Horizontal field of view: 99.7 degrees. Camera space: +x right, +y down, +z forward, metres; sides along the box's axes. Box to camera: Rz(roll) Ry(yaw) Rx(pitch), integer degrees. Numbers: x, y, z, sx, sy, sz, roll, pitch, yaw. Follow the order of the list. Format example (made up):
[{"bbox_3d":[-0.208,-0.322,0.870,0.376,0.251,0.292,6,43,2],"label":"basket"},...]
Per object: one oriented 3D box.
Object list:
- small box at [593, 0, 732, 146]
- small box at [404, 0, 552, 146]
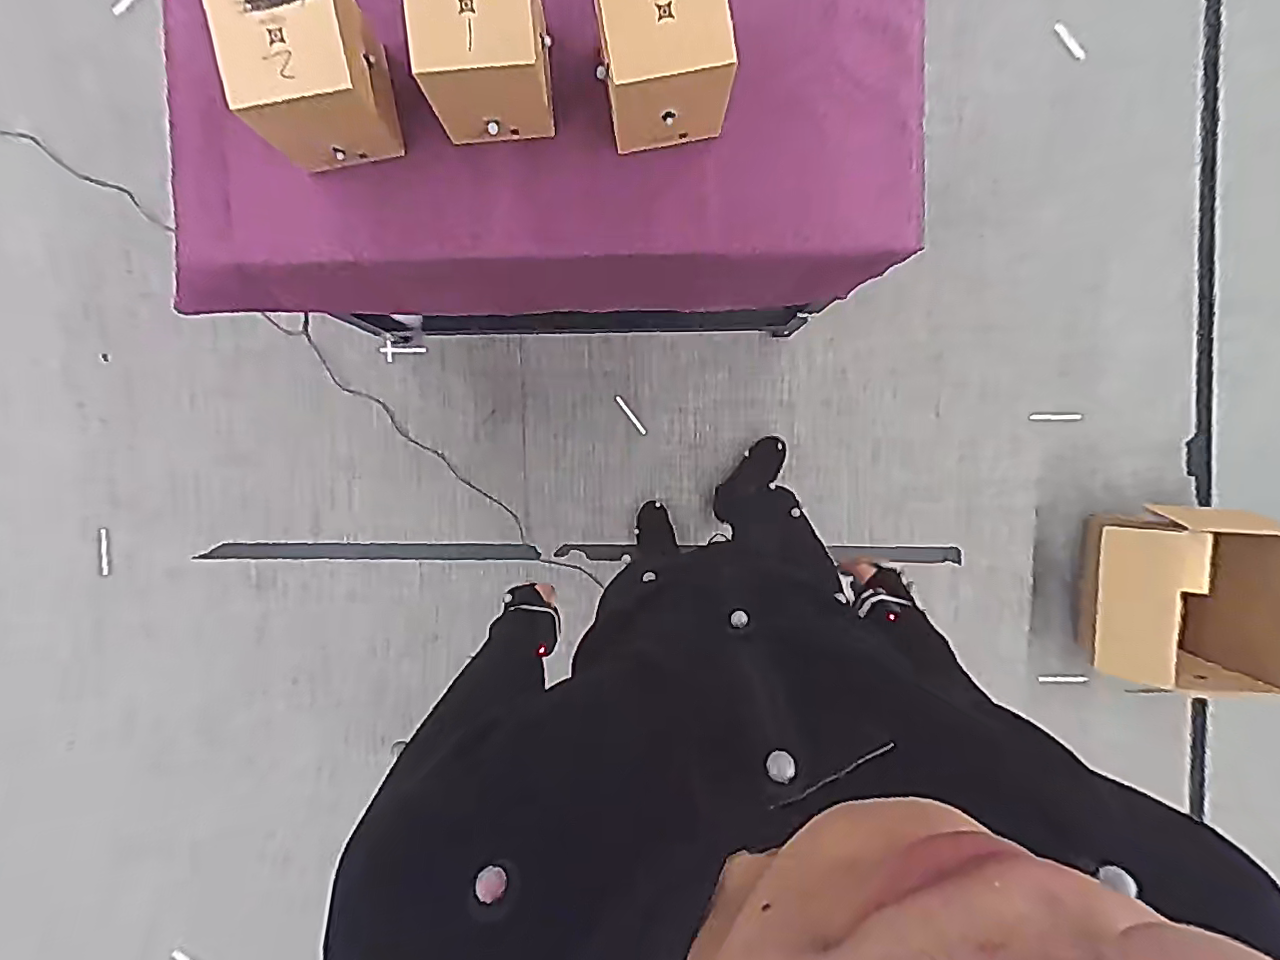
[{"bbox_3d":[0.028,-0.616,0.783,0.168,0.176,0.179,-10,92,0],"label":"small box"},{"bbox_3d":[-0.226,-0.623,0.782,0.168,0.176,0.179,-5,93,0],"label":"small box"}]
